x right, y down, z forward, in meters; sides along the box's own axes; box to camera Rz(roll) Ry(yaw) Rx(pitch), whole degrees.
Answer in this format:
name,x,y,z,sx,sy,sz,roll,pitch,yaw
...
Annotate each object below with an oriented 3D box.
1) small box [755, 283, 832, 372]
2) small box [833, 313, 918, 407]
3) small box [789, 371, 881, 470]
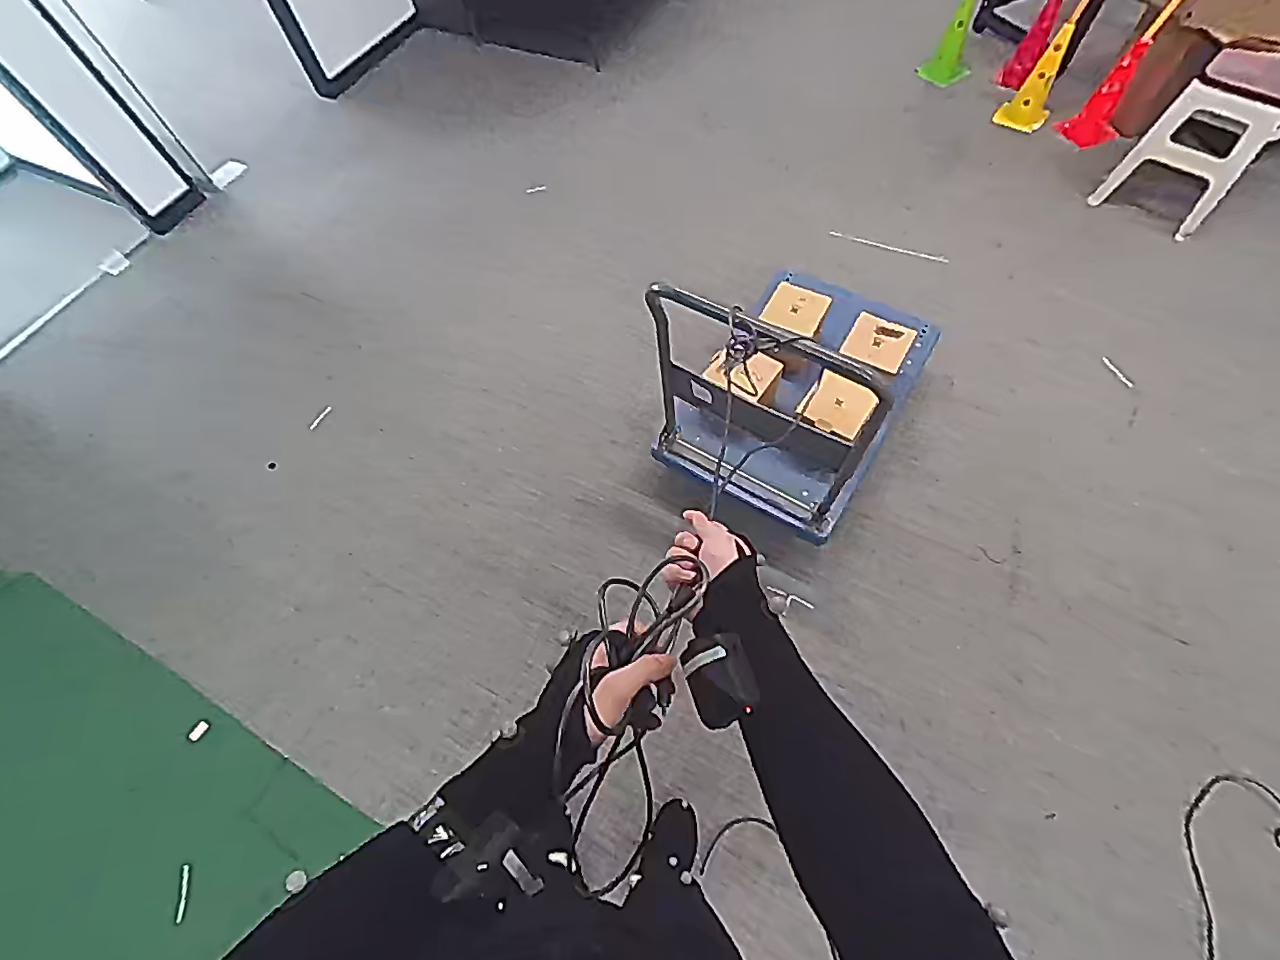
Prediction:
name,x,y,z,sx,sy,sz,roll,pitch,yaw
small box,0.468,-0.466,1.673,0.168,0.176,0.179,26,68,17
small box,0.679,-0.349,1.591,0.168,0.176,0.179,27,69,19
small box,0.536,-0.163,1.512,0.168,0.176,0.179,31,70,19
